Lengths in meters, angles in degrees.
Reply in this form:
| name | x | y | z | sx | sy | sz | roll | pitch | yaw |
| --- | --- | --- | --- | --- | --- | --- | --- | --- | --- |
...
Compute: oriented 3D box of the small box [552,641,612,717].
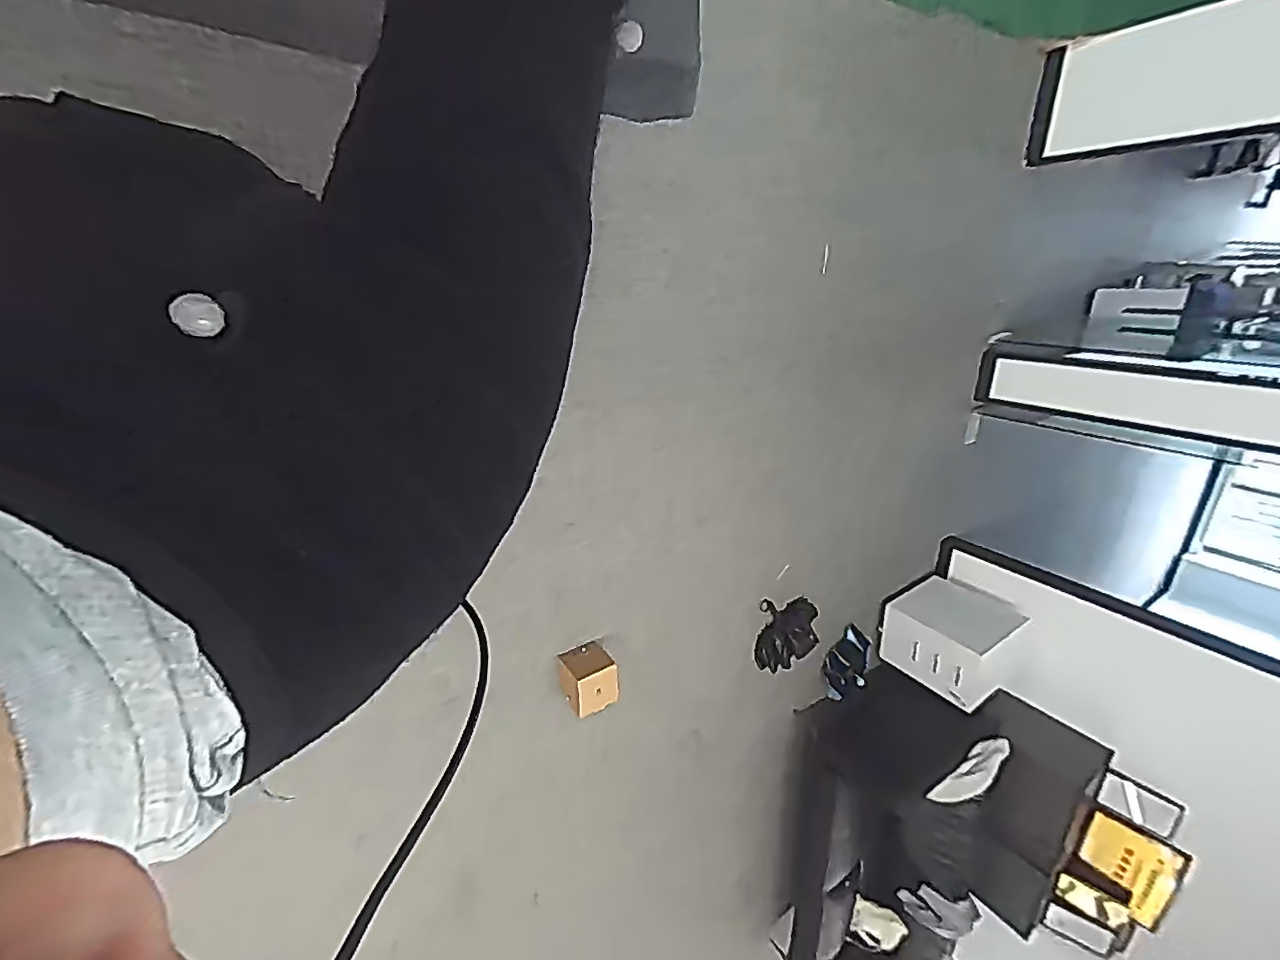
| name | x | y | z | sx | sy | sz | roll | pitch | yaw |
| --- | --- | --- | --- | --- | --- | --- | --- | --- | --- |
| small box | -0.219 | 0.745 | 2.041 | 0.168 | 0.176 | 0.179 | -17 | 115 | -32 |
